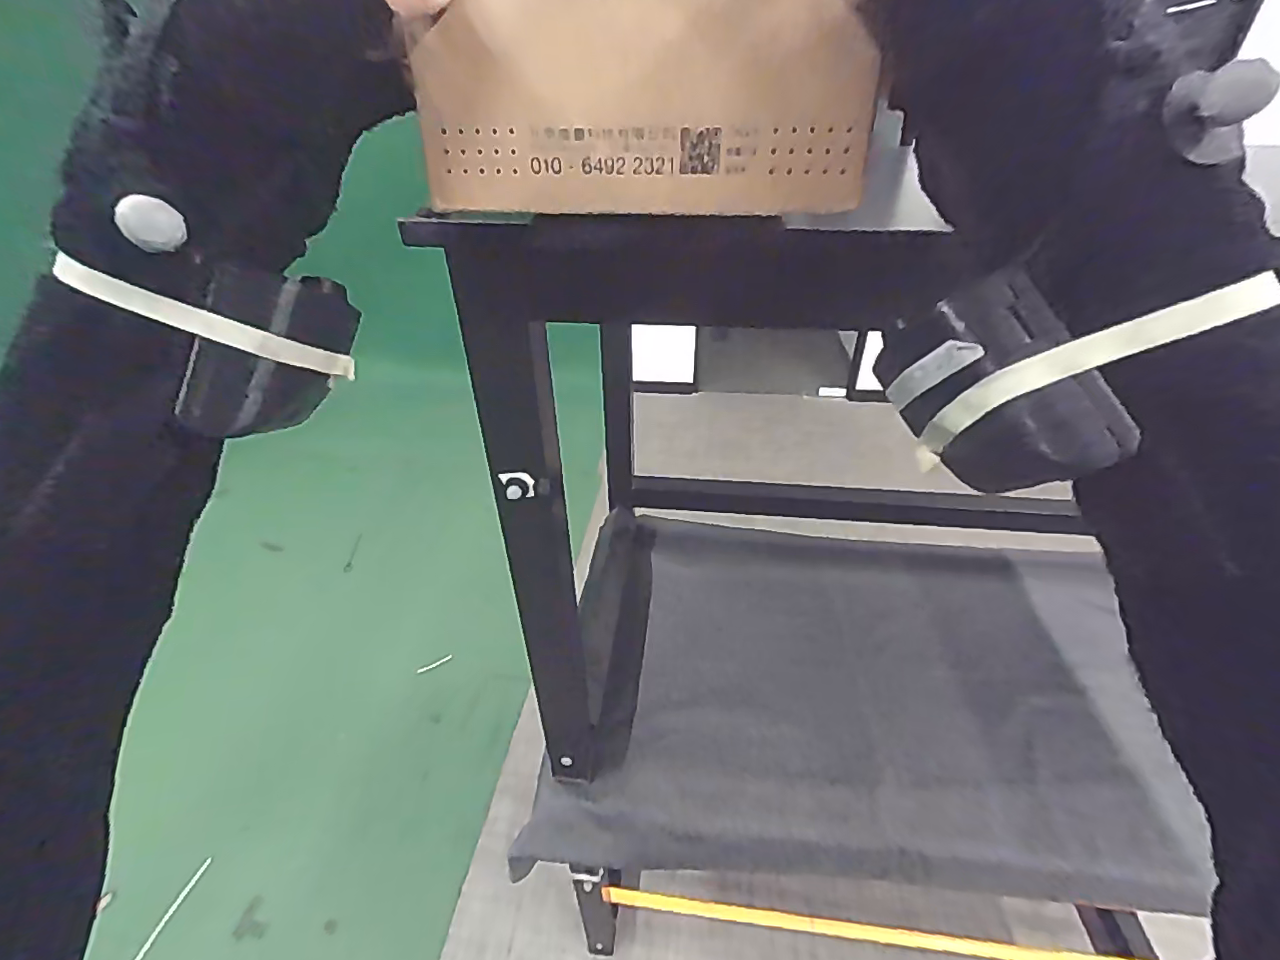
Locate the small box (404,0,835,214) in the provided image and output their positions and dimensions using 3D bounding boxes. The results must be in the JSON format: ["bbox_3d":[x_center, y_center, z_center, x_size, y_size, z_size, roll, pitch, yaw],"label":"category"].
[{"bbox_3d":[-0.003,-0.225,0.260,0.168,0.176,0.179,3,26,4],"label":"small box"}]
